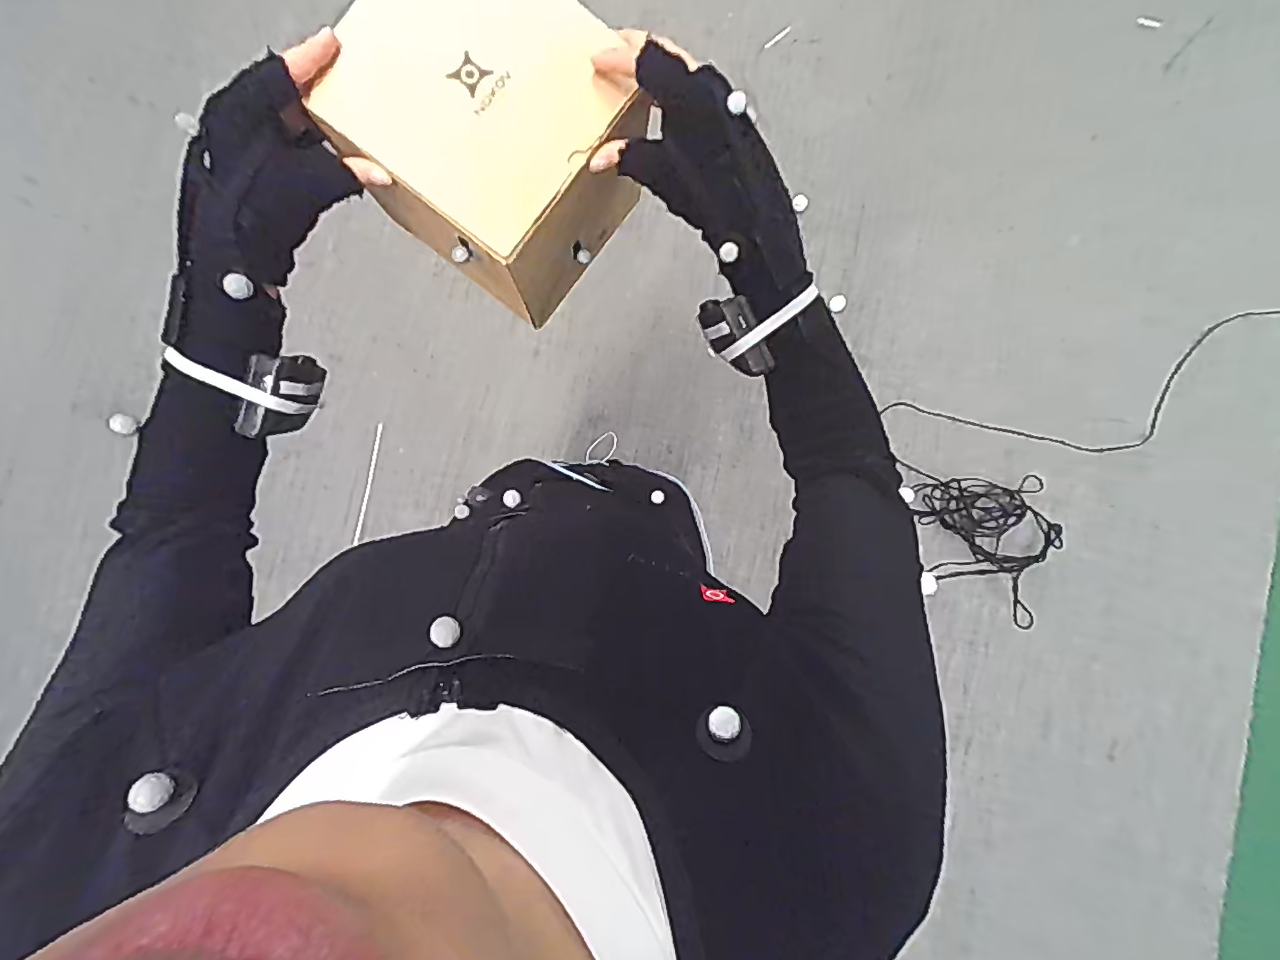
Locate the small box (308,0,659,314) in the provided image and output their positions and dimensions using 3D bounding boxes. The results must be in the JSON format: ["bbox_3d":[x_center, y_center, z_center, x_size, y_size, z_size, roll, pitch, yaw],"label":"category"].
[{"bbox_3d":[-0.111,-0.266,0.443,0.179,0.176,0.168,39,87,-5],"label":"small box"}]
